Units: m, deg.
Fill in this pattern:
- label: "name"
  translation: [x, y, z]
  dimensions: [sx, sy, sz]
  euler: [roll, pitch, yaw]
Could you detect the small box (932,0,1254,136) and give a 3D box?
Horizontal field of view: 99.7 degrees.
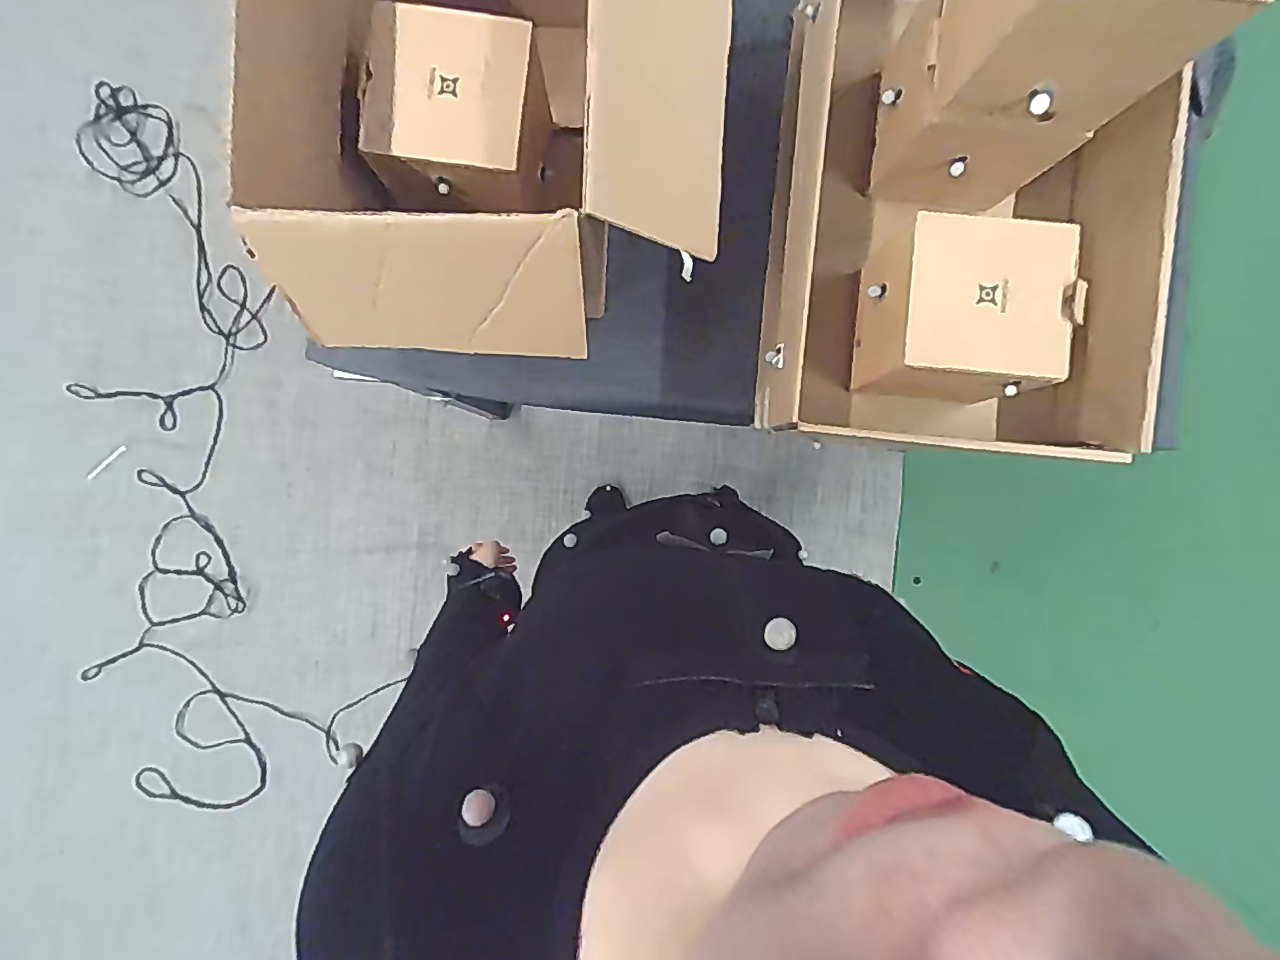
- label: "small box"
  translation: [0.392, -0.453, 0.484]
  dimensions: [0.168, 0.176, 0.179]
  euler: [6, 94, -1]
